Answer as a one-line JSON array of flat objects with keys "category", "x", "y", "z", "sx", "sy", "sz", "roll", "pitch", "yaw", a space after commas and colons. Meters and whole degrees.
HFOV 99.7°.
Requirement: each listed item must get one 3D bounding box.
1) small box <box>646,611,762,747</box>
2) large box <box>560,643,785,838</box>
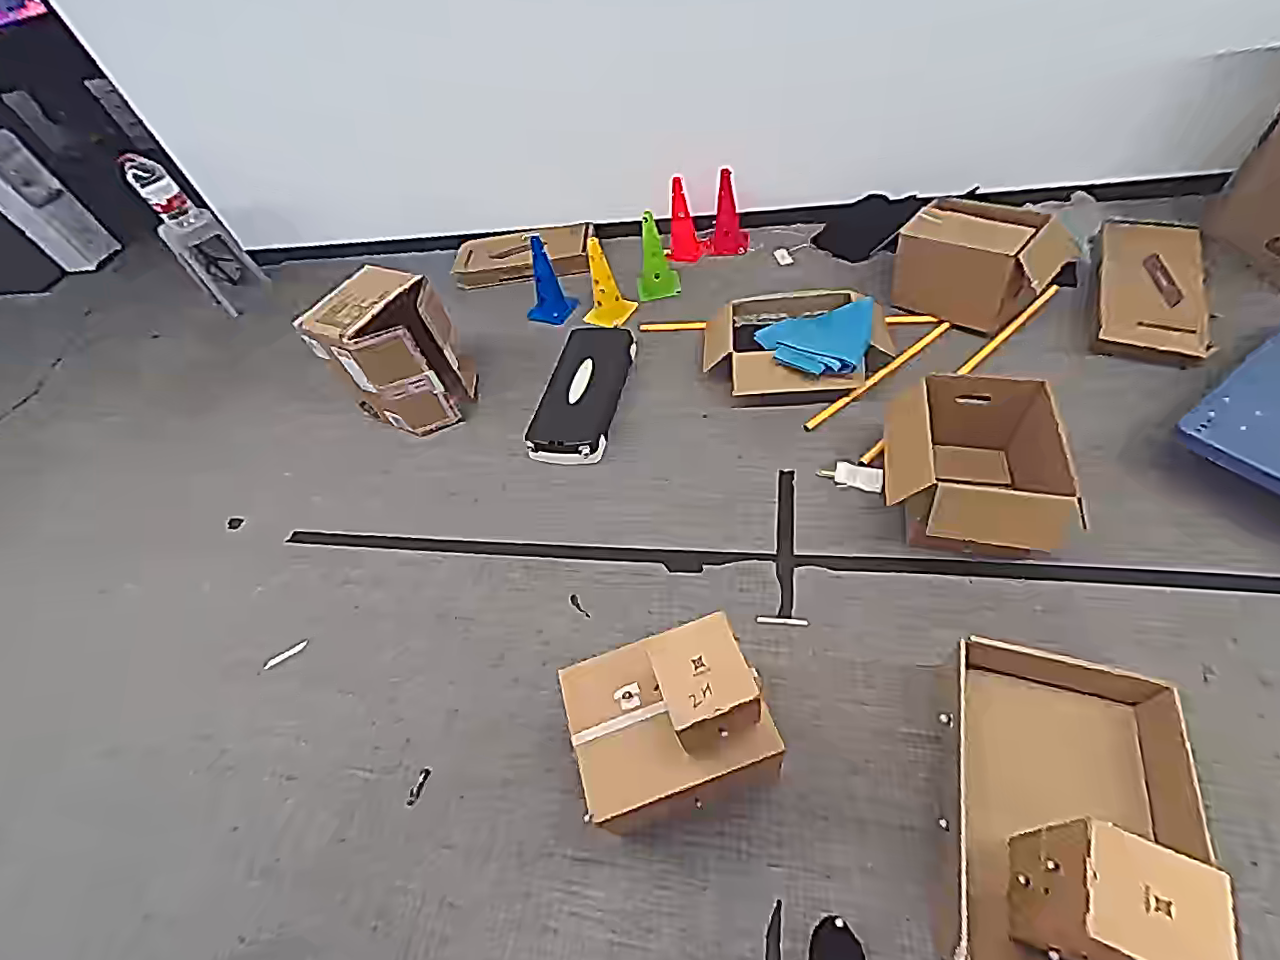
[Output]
[{"category": "small box", "x": 0.125, "y": 0.390, "z": 1.054, "sx": 0.168, "sy": 0.176, "sz": 0.179, "roll": -21, "pitch": 52, "yaw": -4}, {"category": "large box", "x": 0.078, "y": 0.568, "z": 1.242, "sx": 0.408, "sy": 0.320, "sz": 0.320, "roll": -20, "pitch": 51, "yaw": -3}]
